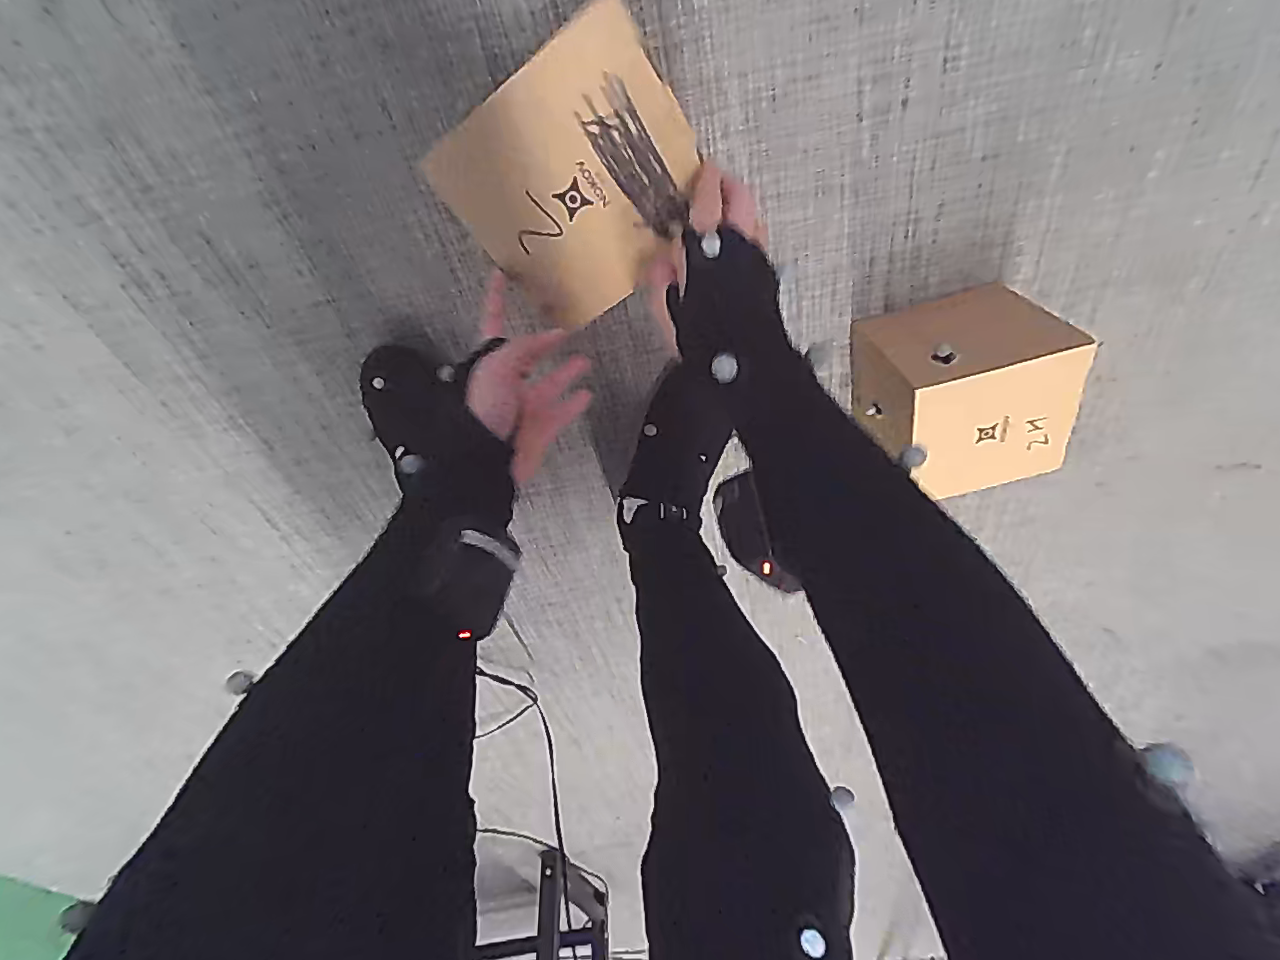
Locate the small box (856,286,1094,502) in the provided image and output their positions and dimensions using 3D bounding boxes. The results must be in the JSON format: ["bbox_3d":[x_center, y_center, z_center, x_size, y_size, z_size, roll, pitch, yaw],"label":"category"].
[{"bbox_3d":[0.368,-0.105,0.639,0.179,0.176,0.168,-15,129,6],"label":"small box"}]
